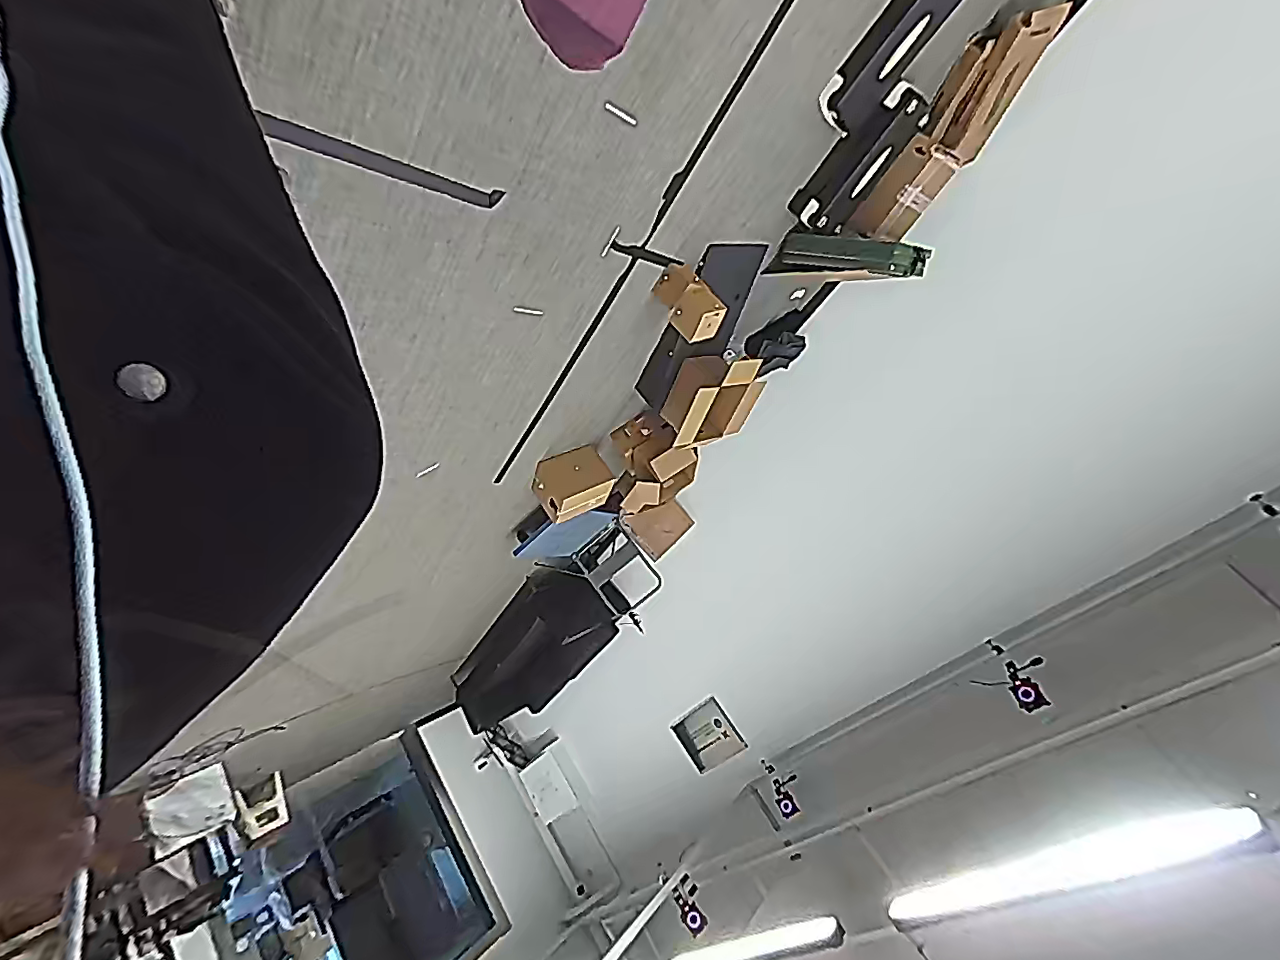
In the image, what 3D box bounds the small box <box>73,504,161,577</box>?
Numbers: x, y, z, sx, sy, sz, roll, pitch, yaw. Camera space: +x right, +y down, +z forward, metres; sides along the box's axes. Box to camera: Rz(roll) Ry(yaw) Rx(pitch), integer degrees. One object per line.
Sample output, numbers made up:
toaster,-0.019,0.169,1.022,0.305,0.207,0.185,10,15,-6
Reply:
small box,-1.786,0.200,1.842,0.168,0.176,0.179,-47,160,26
